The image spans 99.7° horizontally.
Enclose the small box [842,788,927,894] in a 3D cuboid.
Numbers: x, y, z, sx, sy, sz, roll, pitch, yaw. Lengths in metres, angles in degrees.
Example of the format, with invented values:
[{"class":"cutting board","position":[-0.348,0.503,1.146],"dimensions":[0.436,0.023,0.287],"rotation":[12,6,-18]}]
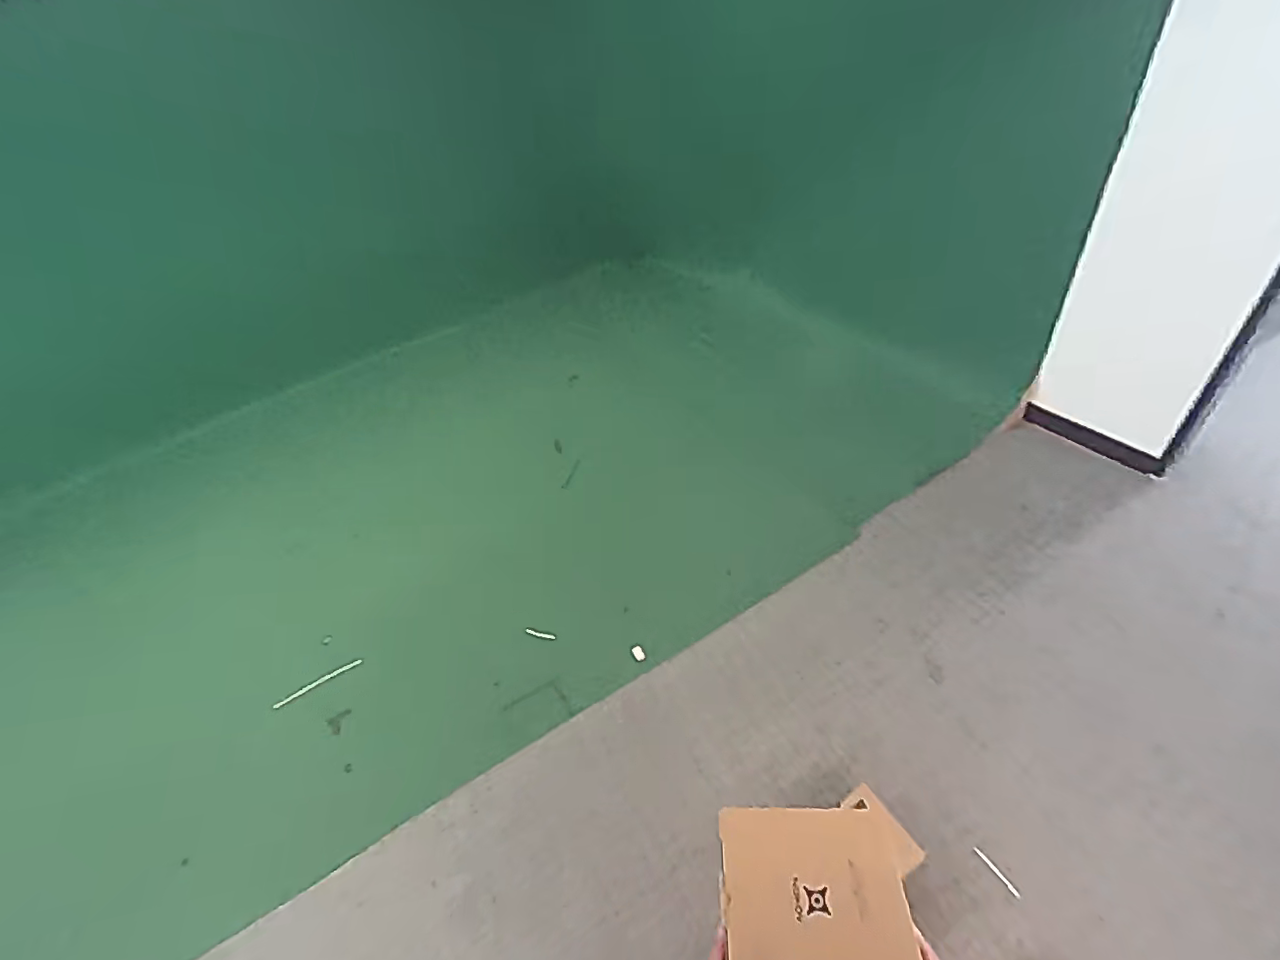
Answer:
[{"class":"small box","position":[0.512,0.856,1.235],"dimensions":[0.168,0.176,0.179],"rotation":[-28,45,-15]}]

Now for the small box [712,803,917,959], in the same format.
[{"class":"small box","position":[0.171,0.464,0.567],"dimensions":[0.179,0.176,0.168],"rotation":[-3,37,7]}]
